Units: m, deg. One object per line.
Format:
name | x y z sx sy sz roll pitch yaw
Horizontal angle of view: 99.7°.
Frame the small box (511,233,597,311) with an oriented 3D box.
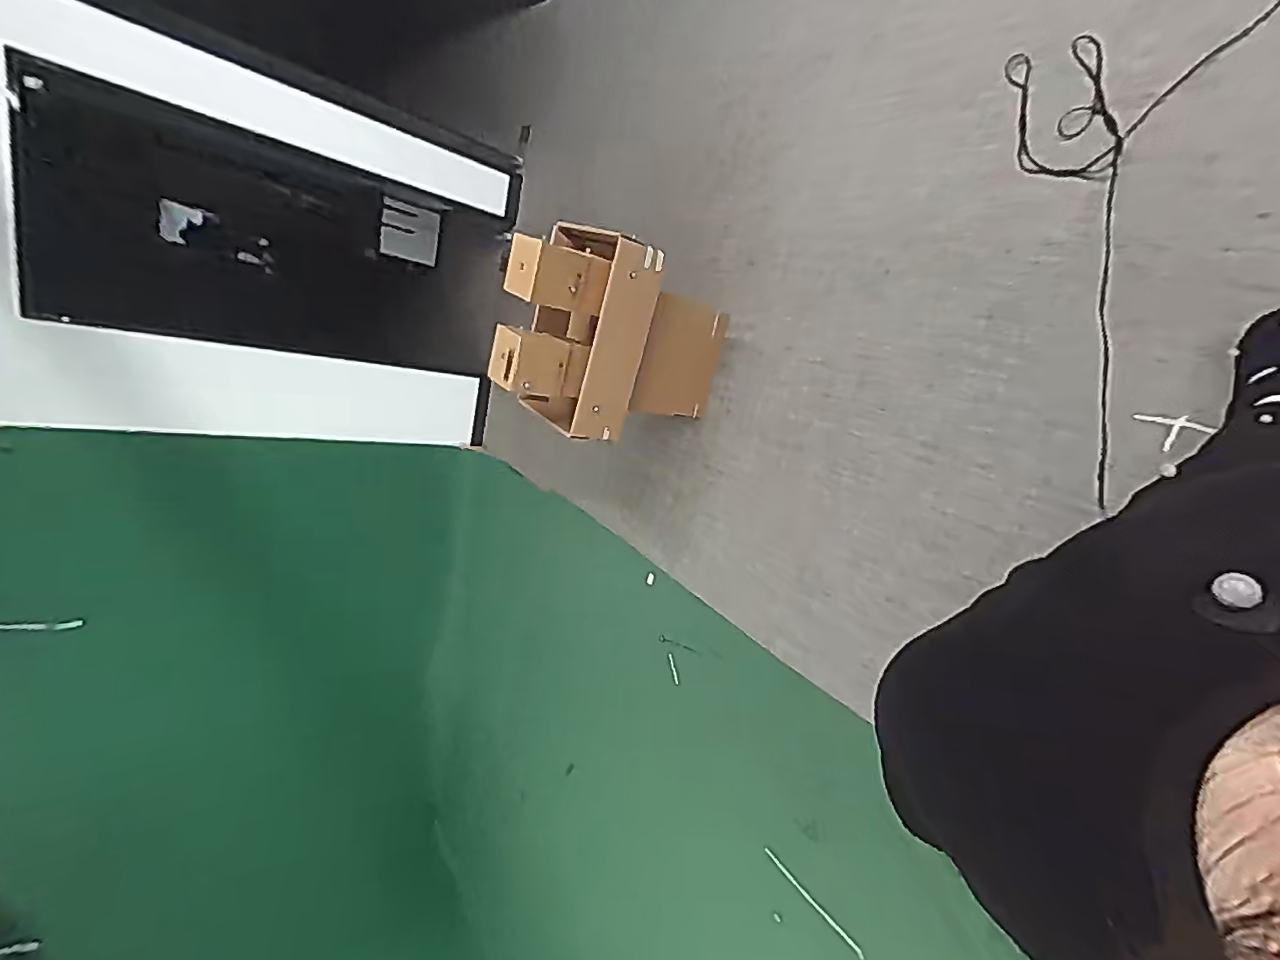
small box | -0.255 -0.612 1.603 0.179 0.176 0.168 38 118 42
